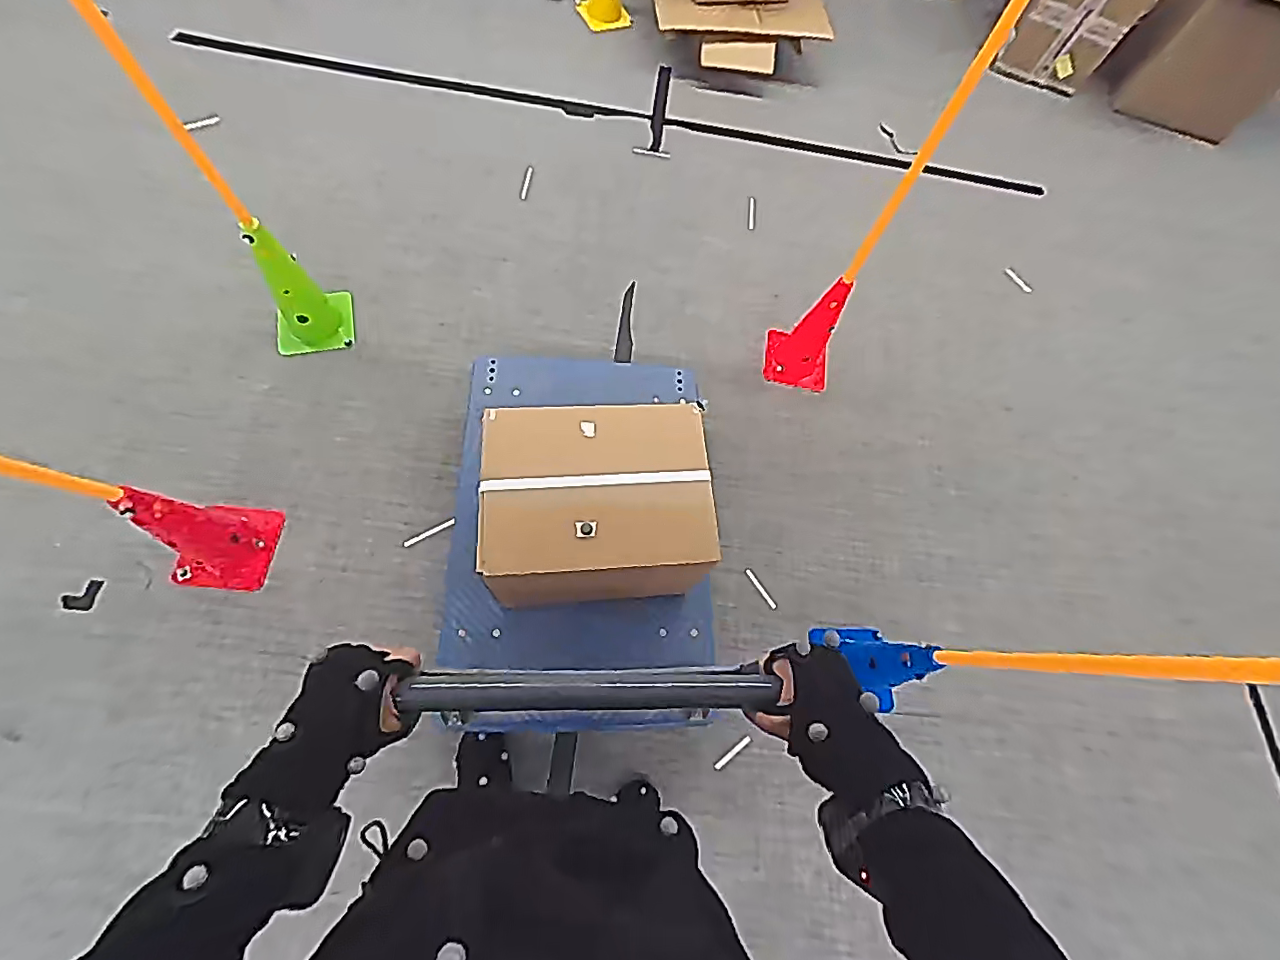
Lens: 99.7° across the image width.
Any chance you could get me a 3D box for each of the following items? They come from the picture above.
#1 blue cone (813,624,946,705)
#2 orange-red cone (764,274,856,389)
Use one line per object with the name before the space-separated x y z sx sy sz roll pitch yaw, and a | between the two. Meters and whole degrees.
blue cone | 0.556 0.397 1.211 0.193 0.380 0.192 4 66 -6
orange-red cone | 0.517 -0.450 1.543 0.199 0.360 0.198 14 67 -3
